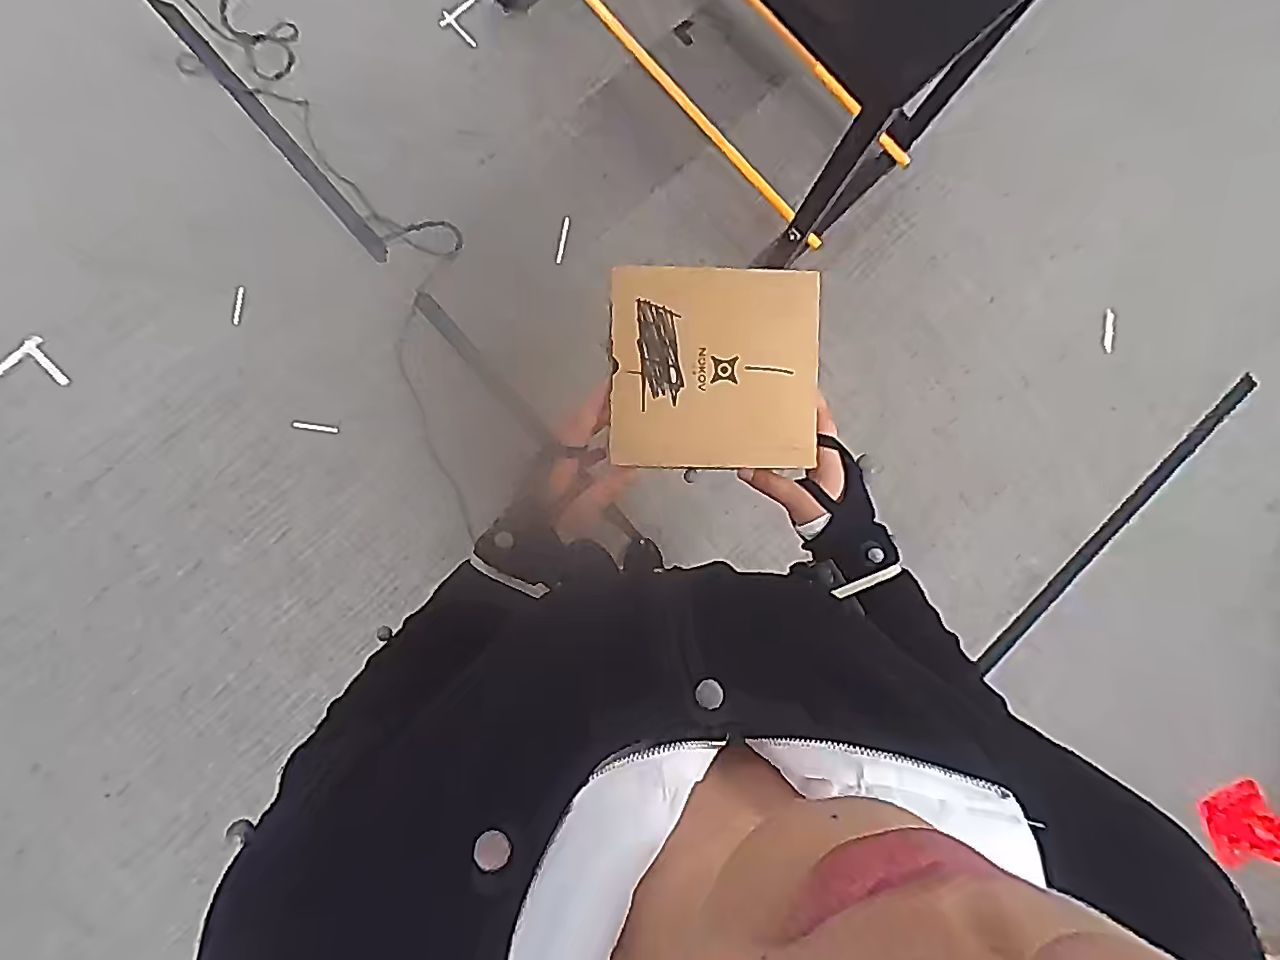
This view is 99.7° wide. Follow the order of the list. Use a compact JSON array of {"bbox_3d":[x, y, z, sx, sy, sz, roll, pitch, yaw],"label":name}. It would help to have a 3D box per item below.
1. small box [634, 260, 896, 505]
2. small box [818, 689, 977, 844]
[{"bbox_3d":[0.084,-0.066,0.444,0.179,0.176,0.168,0,91,-3],"label":"small box"},{"bbox_3d":[0.475,0.523,1.026,0.168,0.176,0.179,-42,89,-6],"label":"small box"}]
